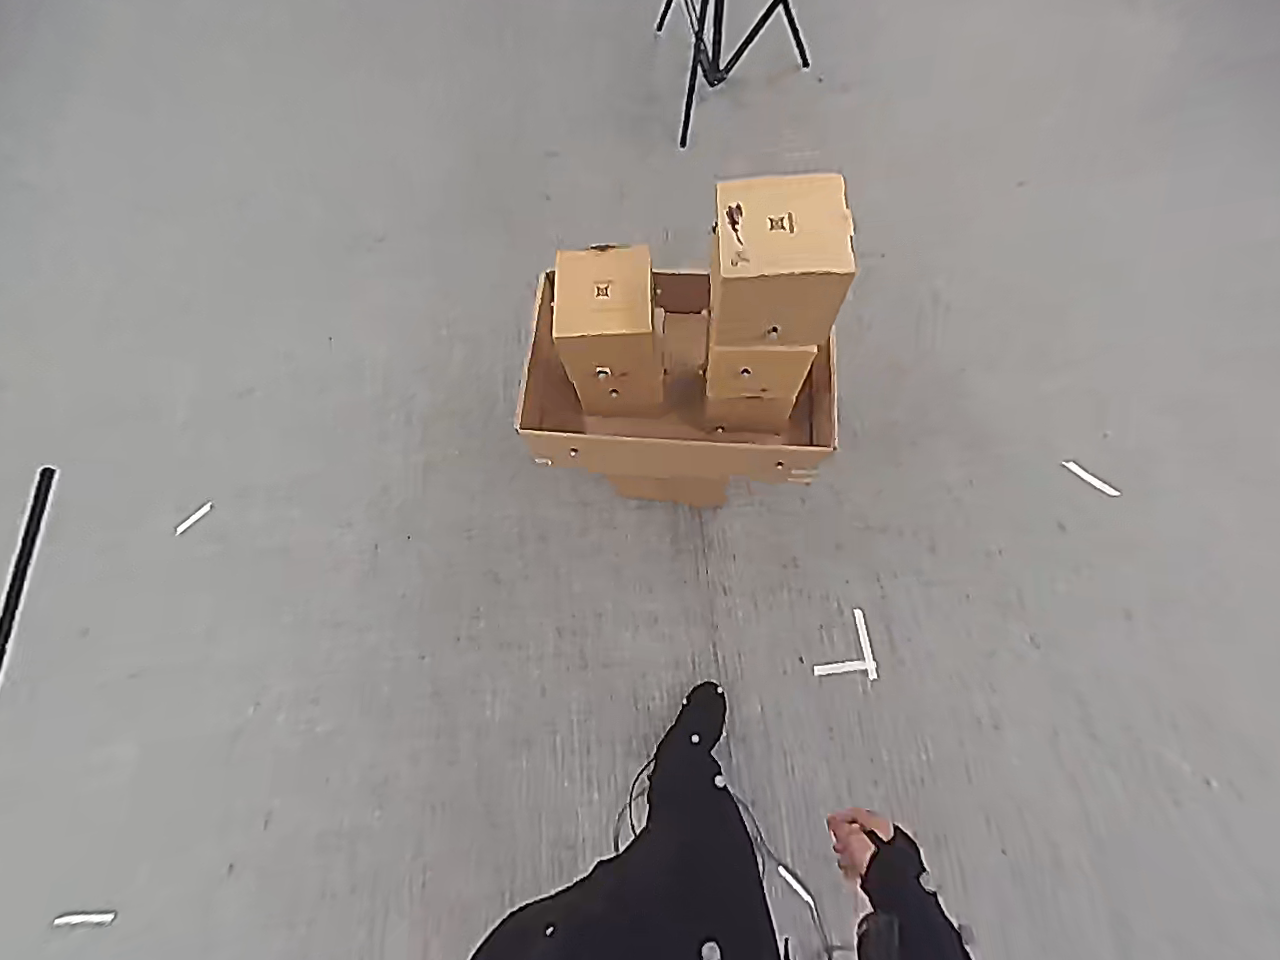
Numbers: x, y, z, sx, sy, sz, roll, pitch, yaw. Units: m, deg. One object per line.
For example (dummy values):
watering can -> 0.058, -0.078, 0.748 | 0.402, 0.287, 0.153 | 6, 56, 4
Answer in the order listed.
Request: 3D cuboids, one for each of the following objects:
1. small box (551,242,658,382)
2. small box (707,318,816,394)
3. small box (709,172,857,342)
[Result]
small box -> -0.057, -0.295, 0.973 | 0.168, 0.176, 0.179 | -2, 71, 5
small box -> 0.205, -0.261, 0.944 | 0.168, 0.176, 0.179 | 1, 71, 5
small box -> 0.195, -0.315, 0.790 | 0.179, 0.176, 0.168 | 0, 71, 4
